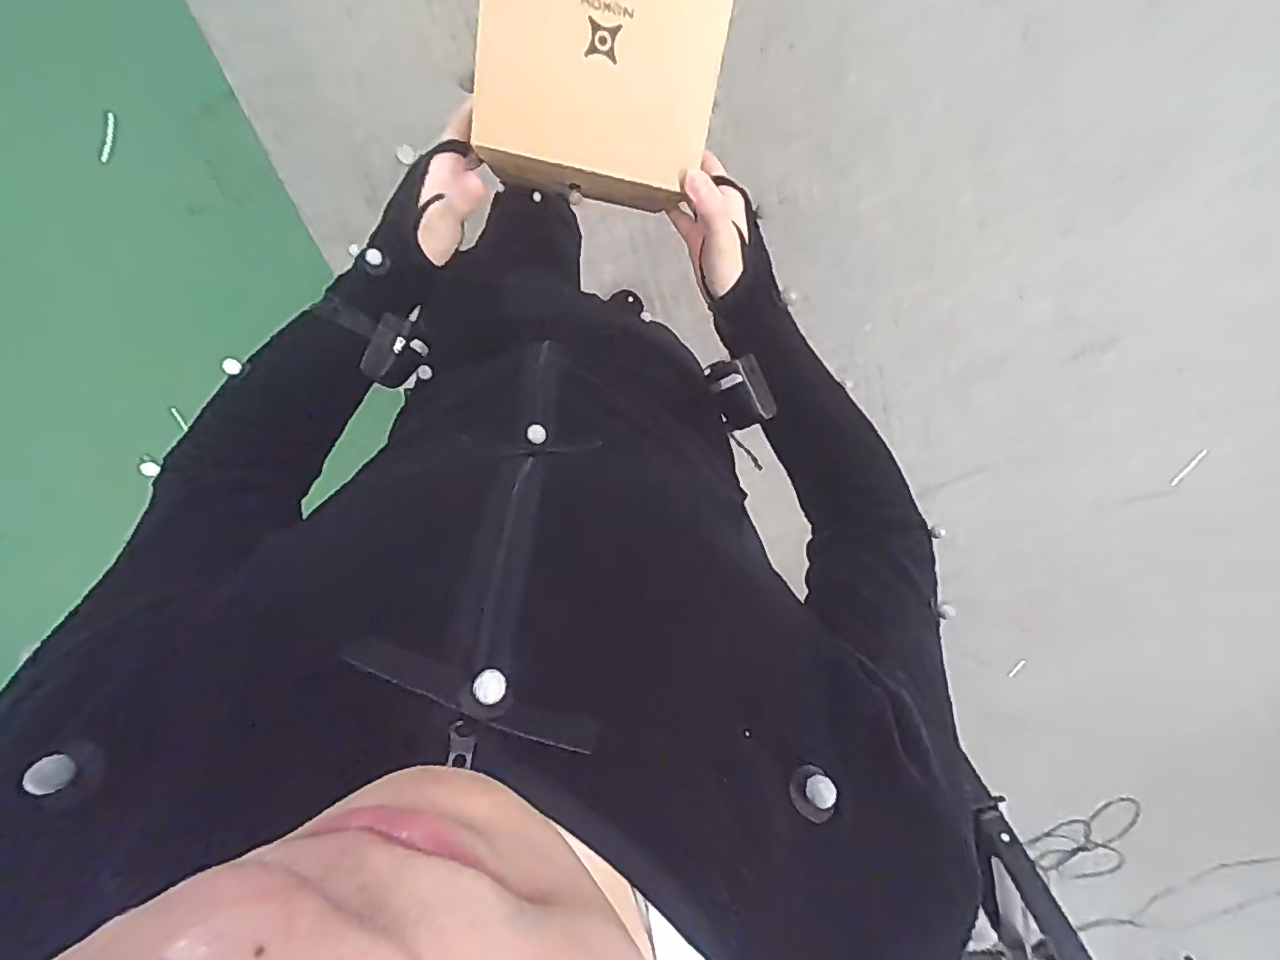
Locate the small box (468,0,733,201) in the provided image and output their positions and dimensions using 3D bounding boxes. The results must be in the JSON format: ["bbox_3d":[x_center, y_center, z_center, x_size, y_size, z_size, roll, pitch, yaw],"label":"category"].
[{"bbox_3d":[-0.033,-0.337,0.429,0.168,0.176,0.179,8,110,-12],"label":"small box"}]
